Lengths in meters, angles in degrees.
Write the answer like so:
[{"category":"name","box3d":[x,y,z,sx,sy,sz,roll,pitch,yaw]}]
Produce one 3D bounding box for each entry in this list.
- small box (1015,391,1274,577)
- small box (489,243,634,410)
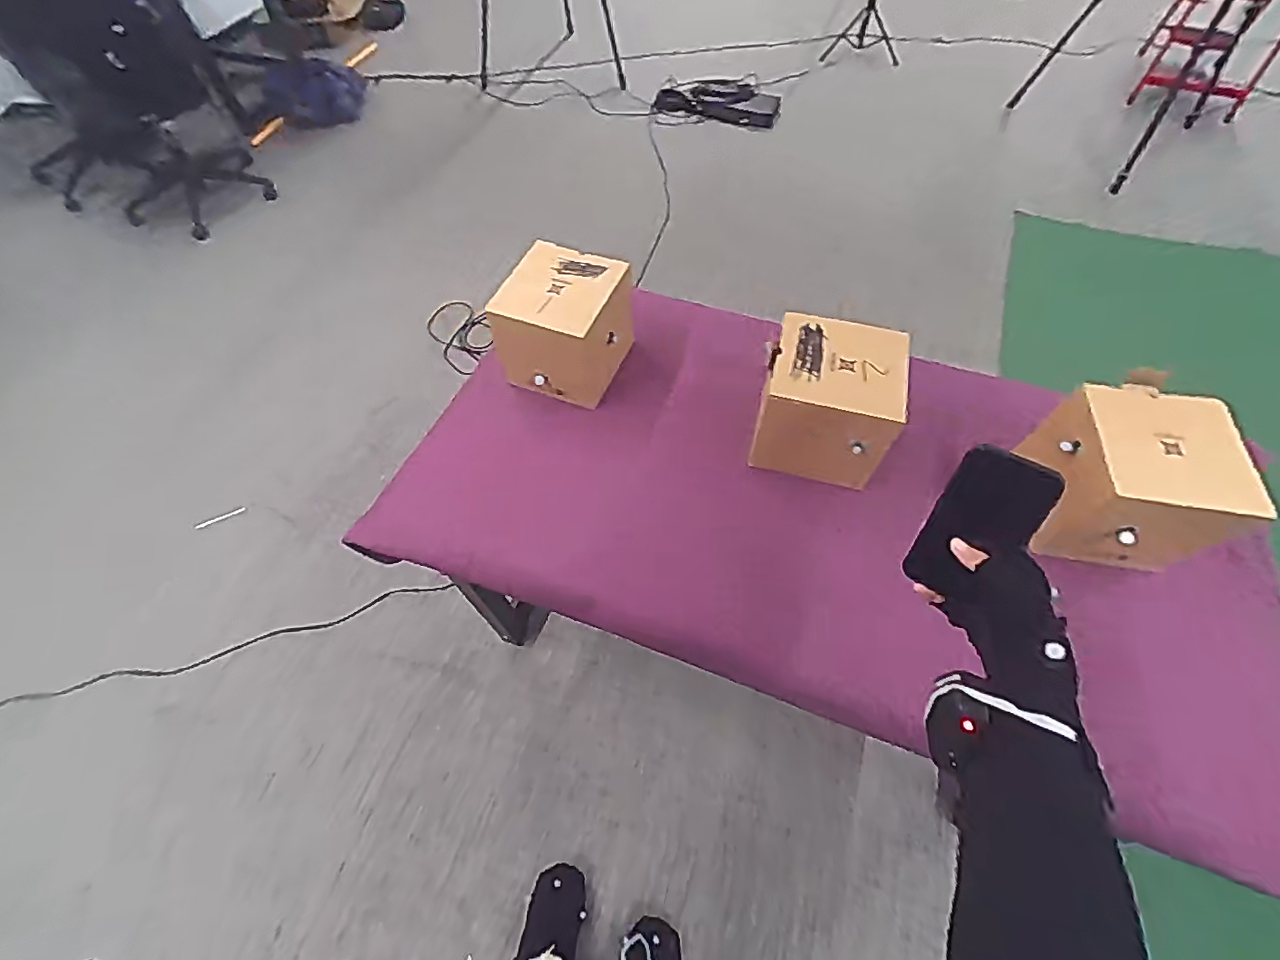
[{"category":"small box","box3d":[0.636,0.011,0.714,0.168,0.176,0.179,9,58,7]},{"category":"small box","box3d":[-0.117,-0.247,0.885,0.168,0.176,0.179,19,62,12]}]
